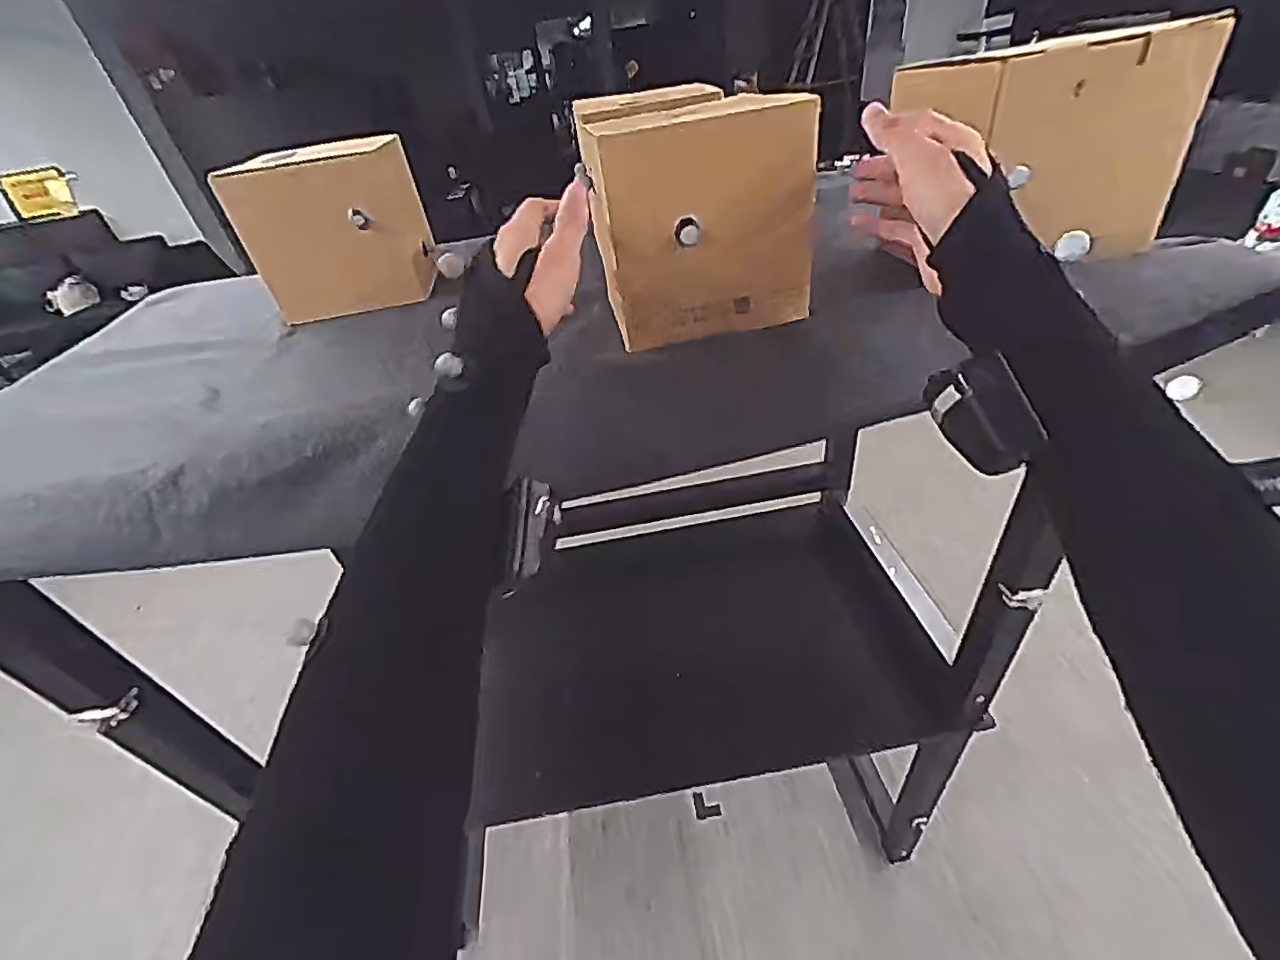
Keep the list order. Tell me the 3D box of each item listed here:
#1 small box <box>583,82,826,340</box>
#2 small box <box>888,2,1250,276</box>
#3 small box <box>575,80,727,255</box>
[{"bbox_3d":[0.051,-0.236,0.482,0.168,0.176,0.179,-12,36,-3],"label":"small box"},{"bbox_3d":[0.346,-0.293,0.486,0.168,0.176,0.179,-9,35,1],"label":"small box"},{"bbox_3d":[0.014,-0.402,0.701,0.168,0.176,0.179,-12,38,-2],"label":"small box"}]
